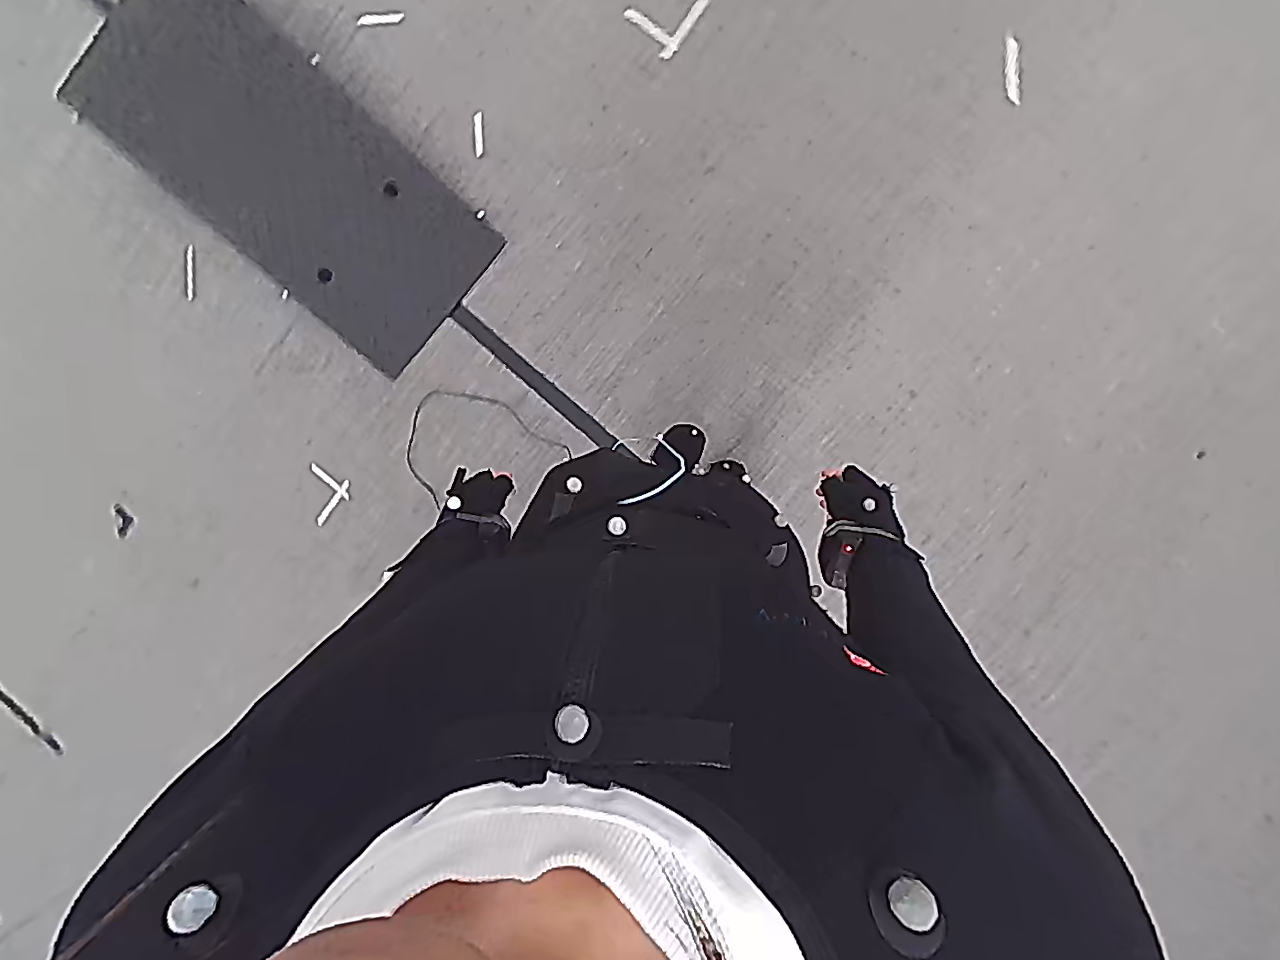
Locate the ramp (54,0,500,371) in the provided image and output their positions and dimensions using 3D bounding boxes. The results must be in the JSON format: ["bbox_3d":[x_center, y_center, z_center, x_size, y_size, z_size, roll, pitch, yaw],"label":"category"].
[{"bbox_3d":[-0.884,-0.793,1.366,0.991,0.206,0.509,41,96,0],"label":"ramp"}]
